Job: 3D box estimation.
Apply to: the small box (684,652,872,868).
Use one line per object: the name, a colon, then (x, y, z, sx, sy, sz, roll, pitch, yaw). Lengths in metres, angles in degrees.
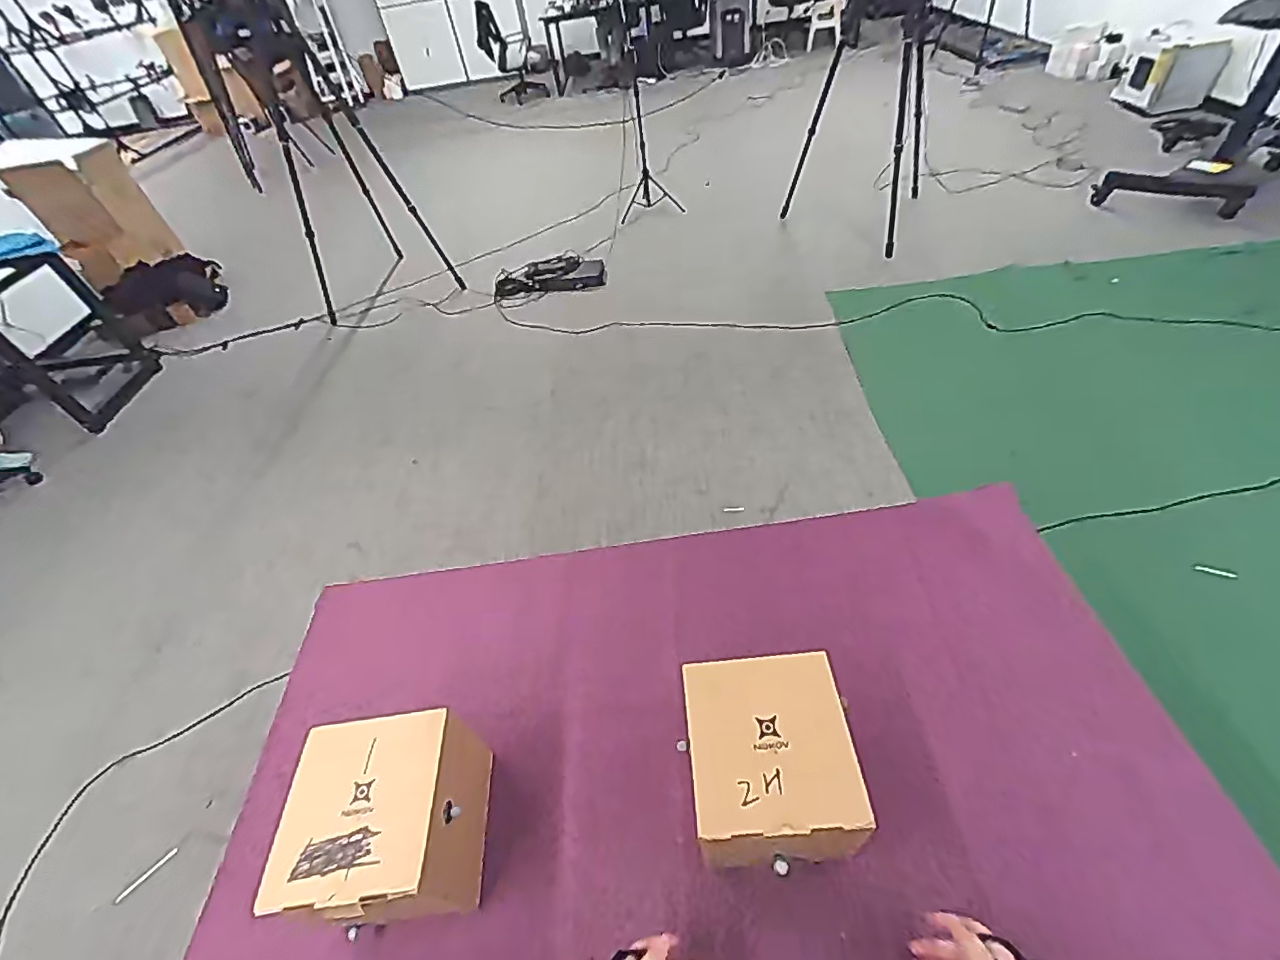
small box: (0.142, 0.321, 0.619, 0.168, 0.176, 0.179, -7, 47, 5)

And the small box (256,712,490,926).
small box: (-0.285, 0.398, 0.629, 0.168, 0.176, 0.179, -9, 45, 2)
